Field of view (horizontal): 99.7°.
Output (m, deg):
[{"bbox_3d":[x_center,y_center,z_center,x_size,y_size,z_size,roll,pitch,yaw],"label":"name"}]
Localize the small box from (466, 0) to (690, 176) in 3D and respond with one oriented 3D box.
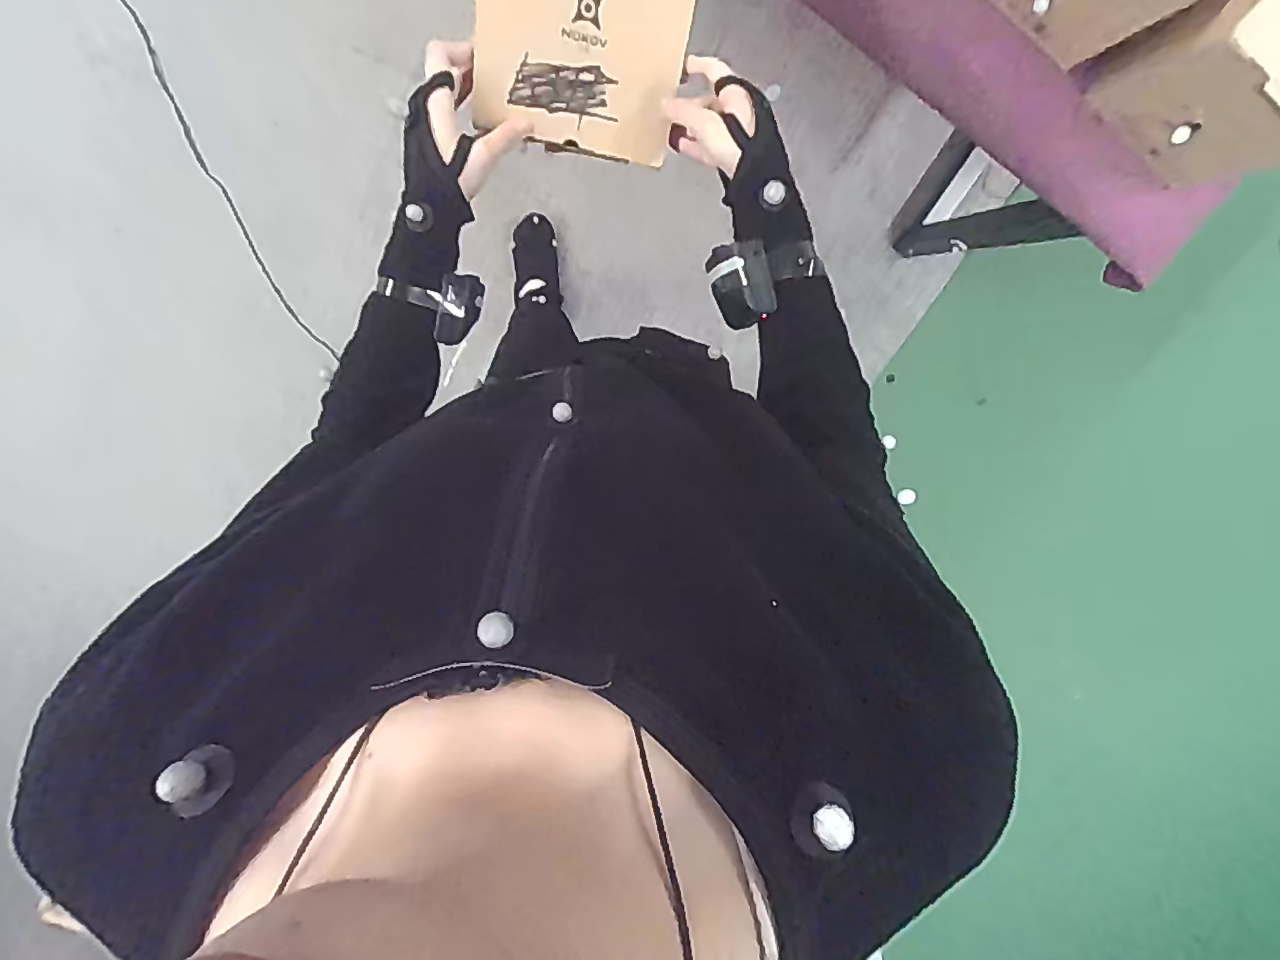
[{"bbox_3d":[-0.055,-0.393,0.485,0.168,0.176,0.179,7,121,-11],"label":"small box"}]
